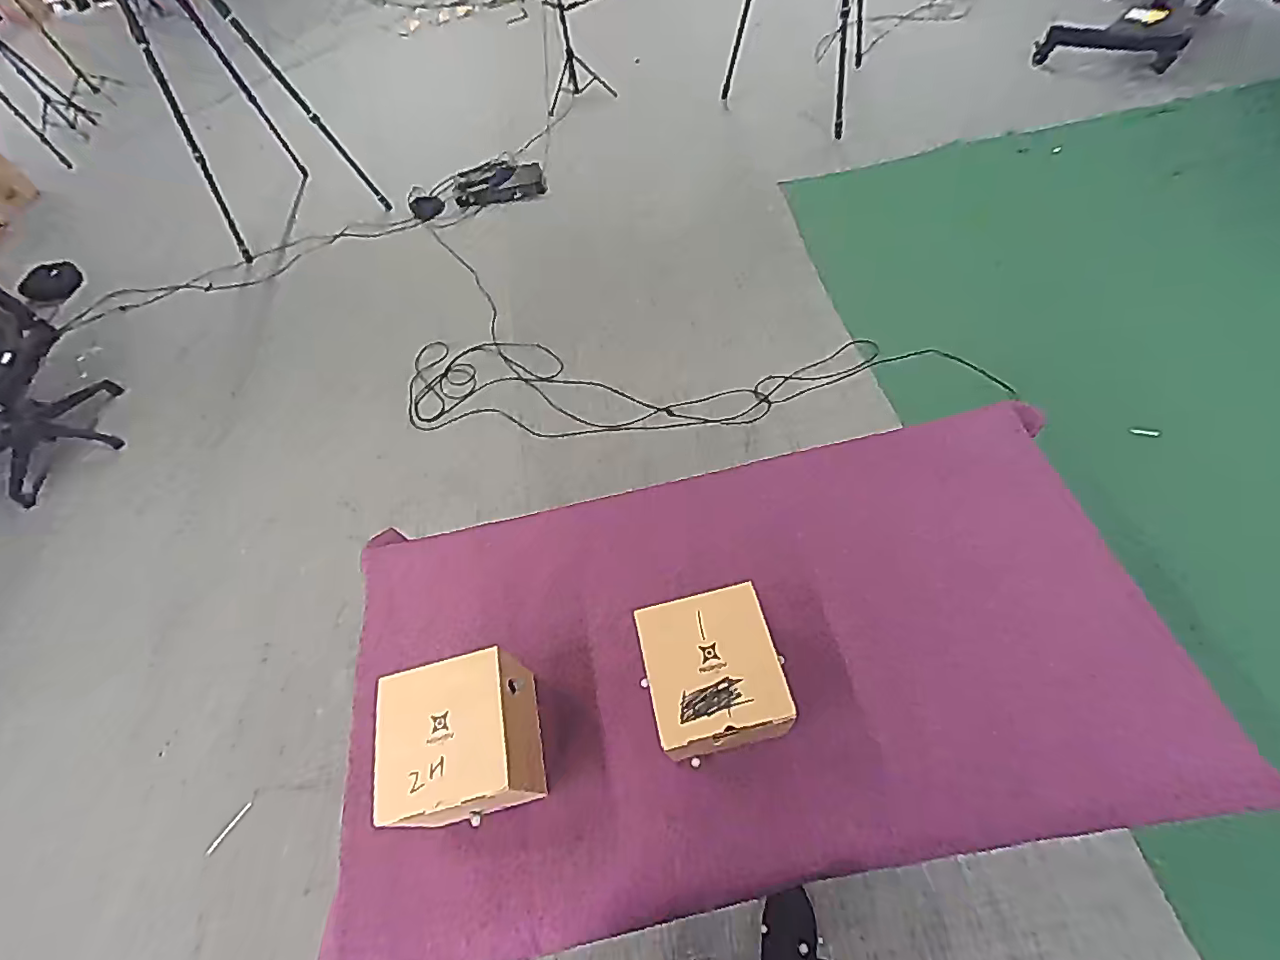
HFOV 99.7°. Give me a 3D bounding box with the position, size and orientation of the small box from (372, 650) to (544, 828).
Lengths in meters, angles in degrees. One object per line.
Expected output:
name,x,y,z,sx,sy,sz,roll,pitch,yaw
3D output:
small box,-0.240,0.359,0.741,0.168,0.176,0.179,-15,57,-1

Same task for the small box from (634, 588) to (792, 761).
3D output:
small box,0.097,0.274,0.744,0.168,0.176,0.179,-14,56,0
